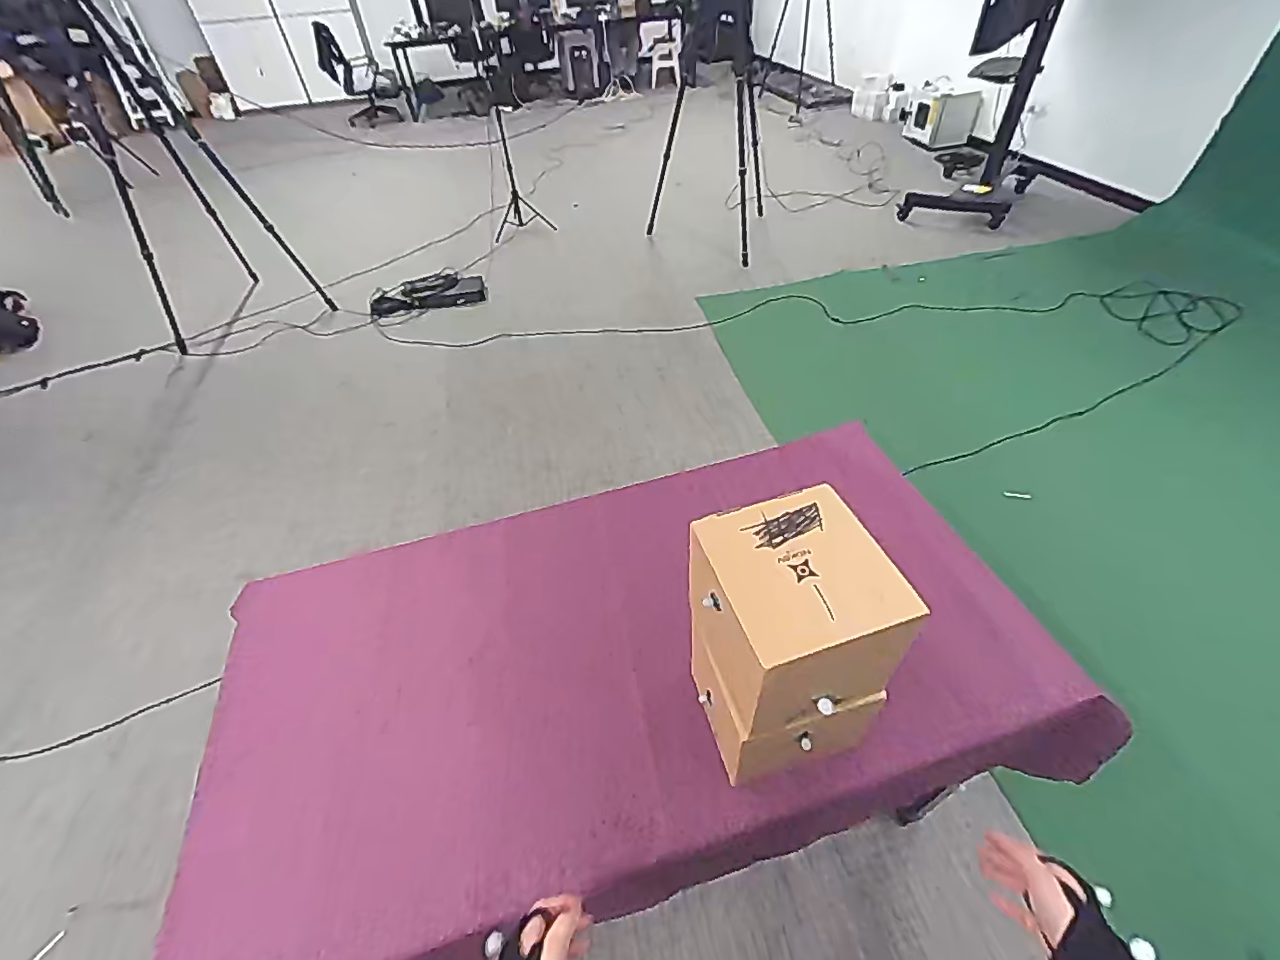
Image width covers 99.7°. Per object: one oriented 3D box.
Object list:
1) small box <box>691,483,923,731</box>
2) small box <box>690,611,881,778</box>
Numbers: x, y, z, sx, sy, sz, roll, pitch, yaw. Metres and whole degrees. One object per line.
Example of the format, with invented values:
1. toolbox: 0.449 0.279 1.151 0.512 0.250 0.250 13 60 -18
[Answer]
1. small box: 0.158 0.136 0.585 0.168 0.176 0.179 -16 47 -9
2. small box: 0.172 0.257 0.697 0.179 0.176 0.168 -13 46 -7
